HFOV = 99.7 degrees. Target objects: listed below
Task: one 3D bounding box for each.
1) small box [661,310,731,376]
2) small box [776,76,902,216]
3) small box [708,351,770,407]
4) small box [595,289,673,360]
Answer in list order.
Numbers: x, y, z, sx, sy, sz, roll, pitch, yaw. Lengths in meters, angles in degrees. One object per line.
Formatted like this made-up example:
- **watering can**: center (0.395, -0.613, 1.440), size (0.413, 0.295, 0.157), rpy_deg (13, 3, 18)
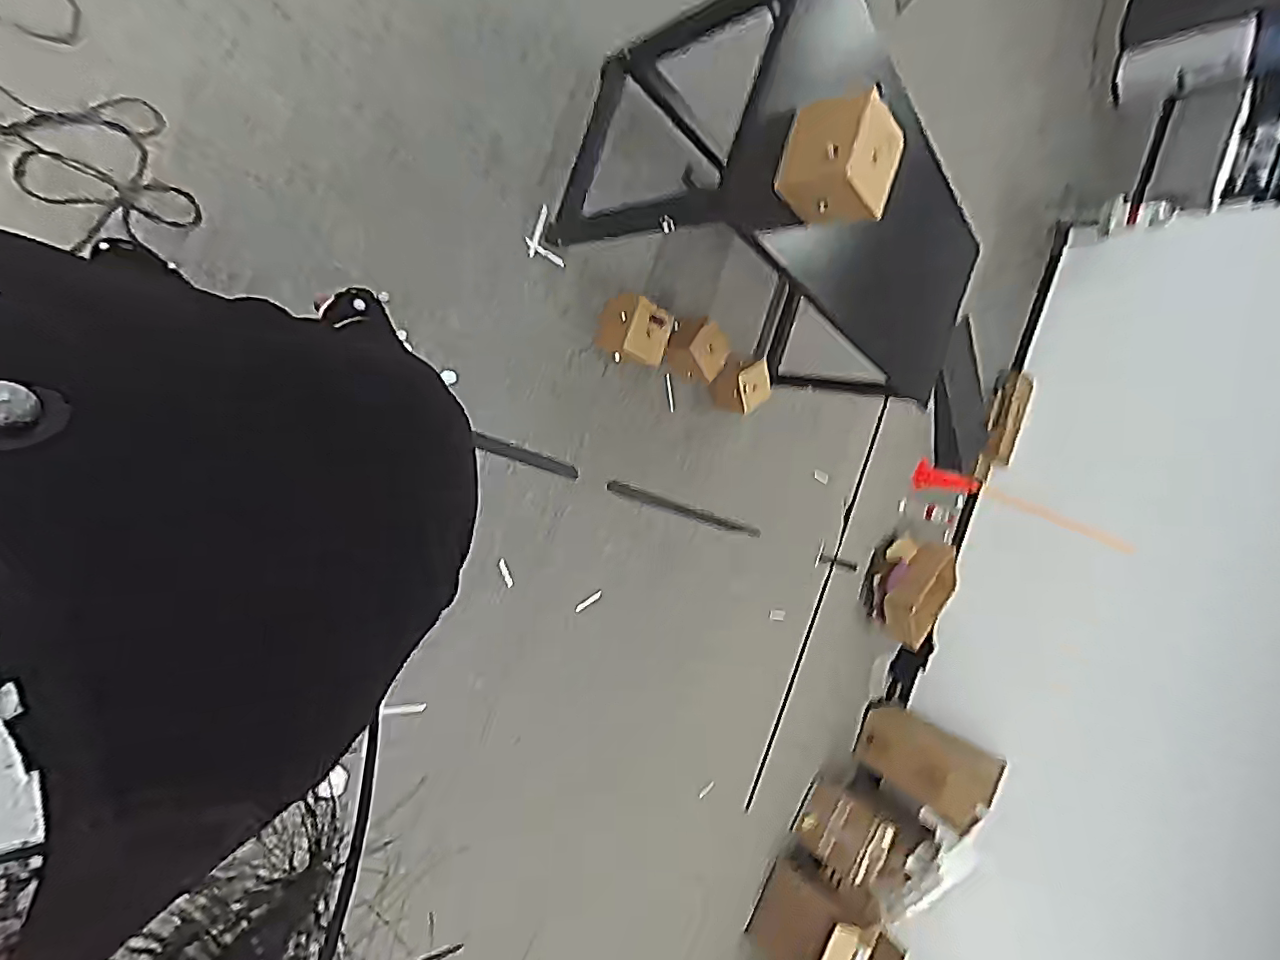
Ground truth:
- **small box**: center (0.198, -0.510, 1.998), size (0.168, 0.176, 0.179), rpy_deg (-56, 130, -14)
- **small box**: center (0.409, -0.679, 1.128), size (0.168, 0.176, 0.179), rpy_deg (15, 92, -44)
- **small box**: center (0.401, -0.418, 2.202), size (0.179, 0.176, 0.168), rpy_deg (-36, 124, -28)
- **small box**: center (-0.026, -0.516, 1.796), size (0.168, 0.176, 0.179), rpy_deg (17, 93, -43)
